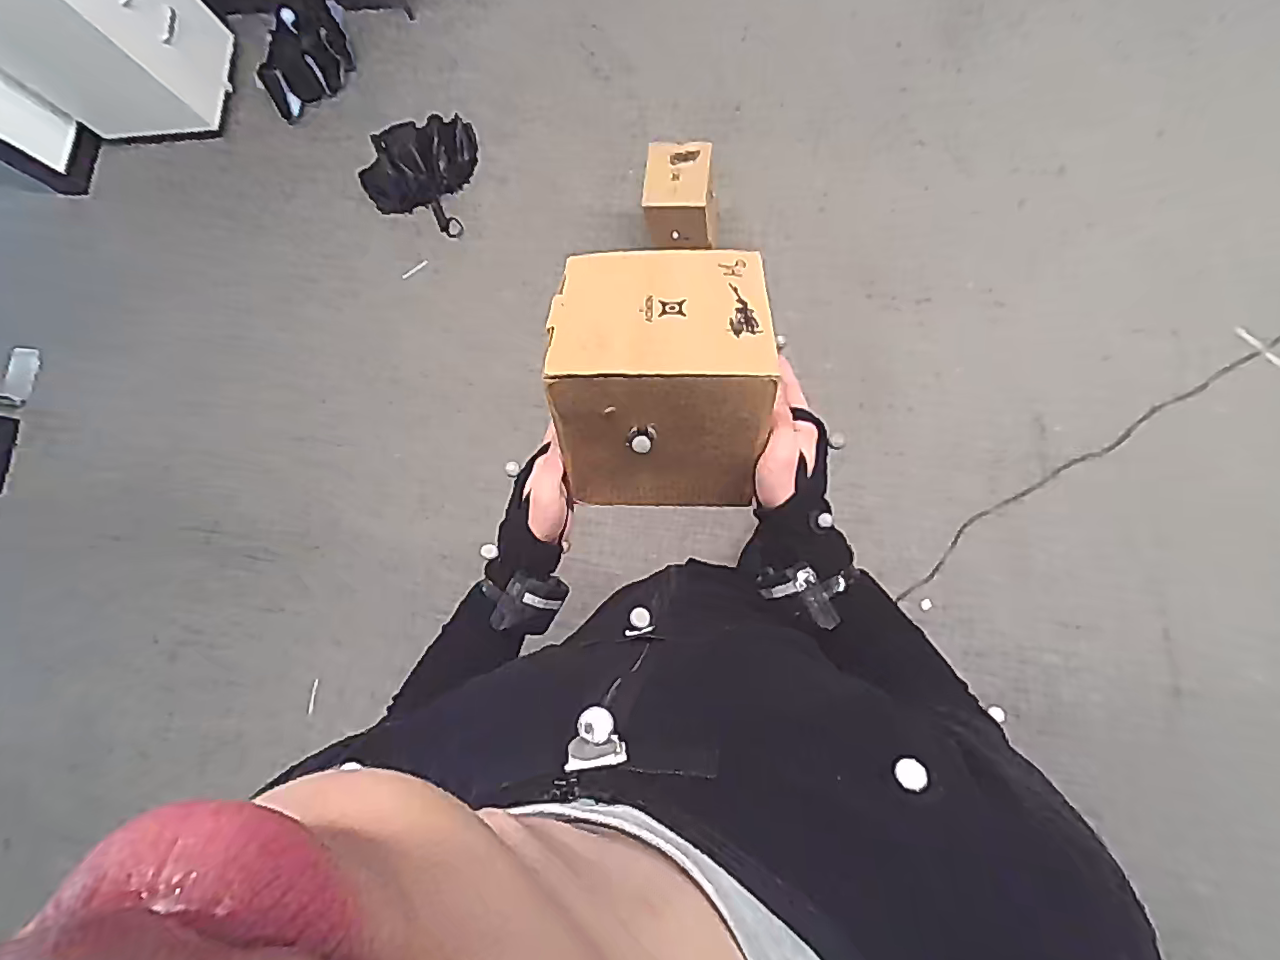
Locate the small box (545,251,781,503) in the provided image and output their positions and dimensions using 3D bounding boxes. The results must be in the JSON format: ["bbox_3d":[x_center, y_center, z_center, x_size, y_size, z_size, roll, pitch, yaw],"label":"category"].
[{"bbox_3d":[0.023,-0.091,0.503,0.179,0.176,0.168,1,53,3],"label":"small box"}]

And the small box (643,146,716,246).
[{"bbox_3d":[0.112,-0.759,1.452,0.168,0.176,0.179,5,84,12],"label":"small box"}]

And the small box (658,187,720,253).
[{"bbox_3d":[0.150,-0.739,1.611,0.168,0.176,0.179,4,84,12],"label":"small box"}]
